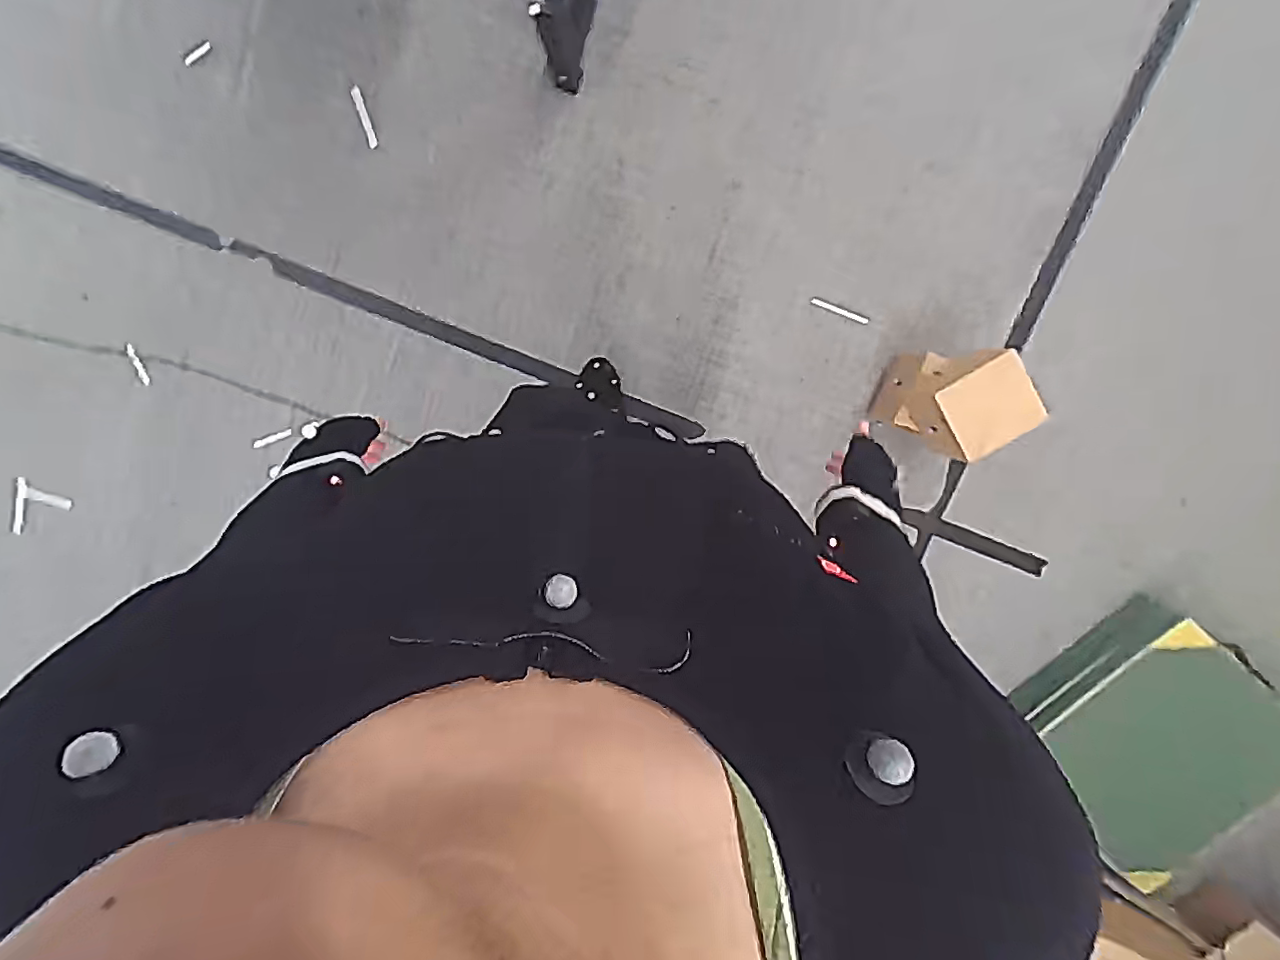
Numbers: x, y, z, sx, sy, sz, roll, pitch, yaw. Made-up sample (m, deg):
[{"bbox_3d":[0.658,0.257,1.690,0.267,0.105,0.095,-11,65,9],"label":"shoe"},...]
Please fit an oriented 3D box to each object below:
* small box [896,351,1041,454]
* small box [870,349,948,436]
[{"bbox_3d":[0.705,-0.169,1.172,0.179,0.176,0.168,-32,100,7],"label":"small box"},{"bbox_3d":[0.699,-0.208,1.336,0.168,0.176,0.179,23,101,-3],"label":"small box"}]
